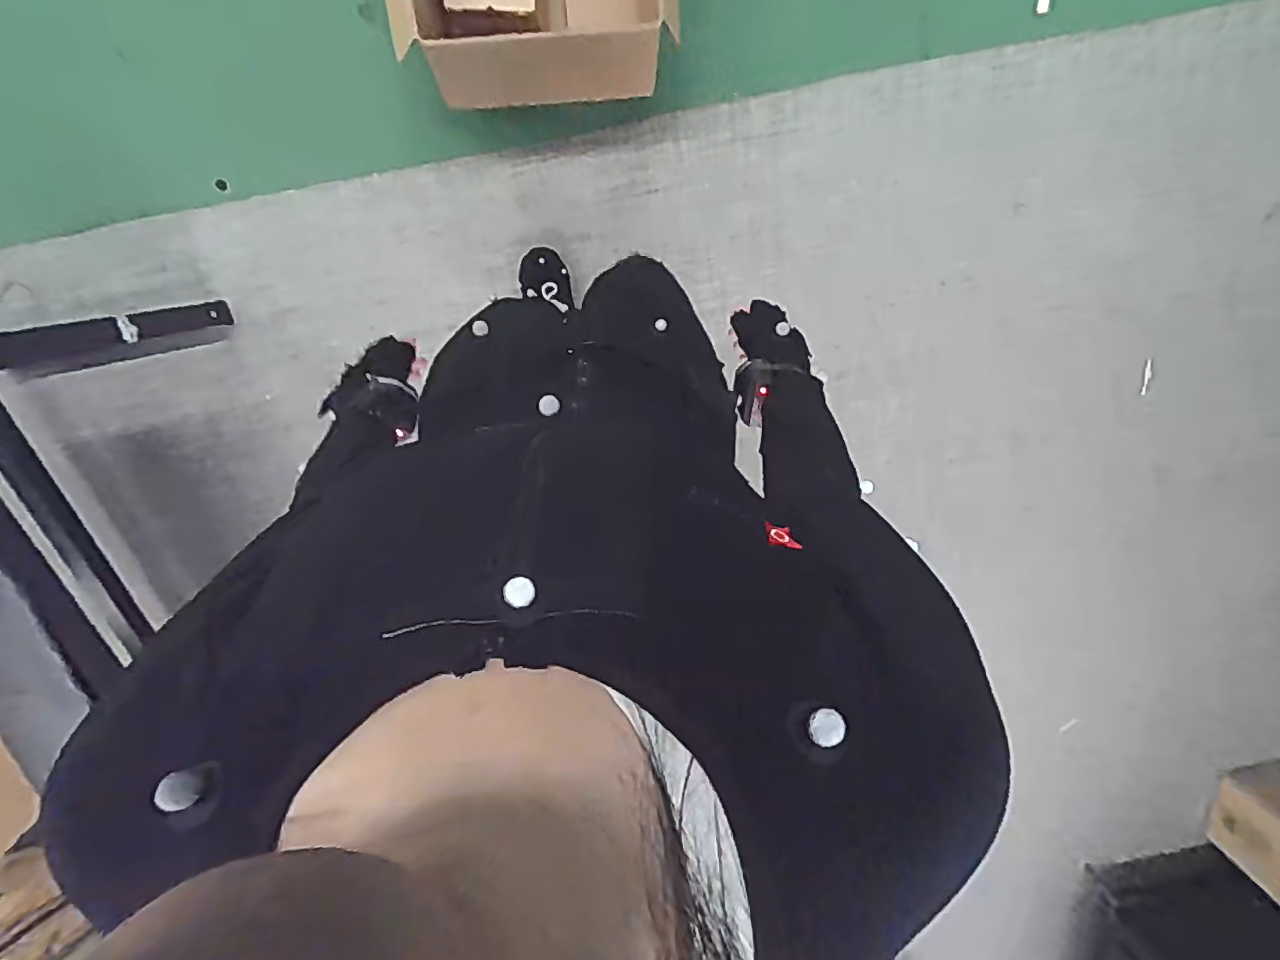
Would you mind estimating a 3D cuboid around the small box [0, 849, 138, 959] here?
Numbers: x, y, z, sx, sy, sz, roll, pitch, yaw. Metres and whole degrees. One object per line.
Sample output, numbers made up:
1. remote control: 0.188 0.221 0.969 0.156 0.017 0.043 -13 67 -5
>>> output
1. small box: -0.995 0.736 0.875 0.168 0.176 0.179 -17 113 1
